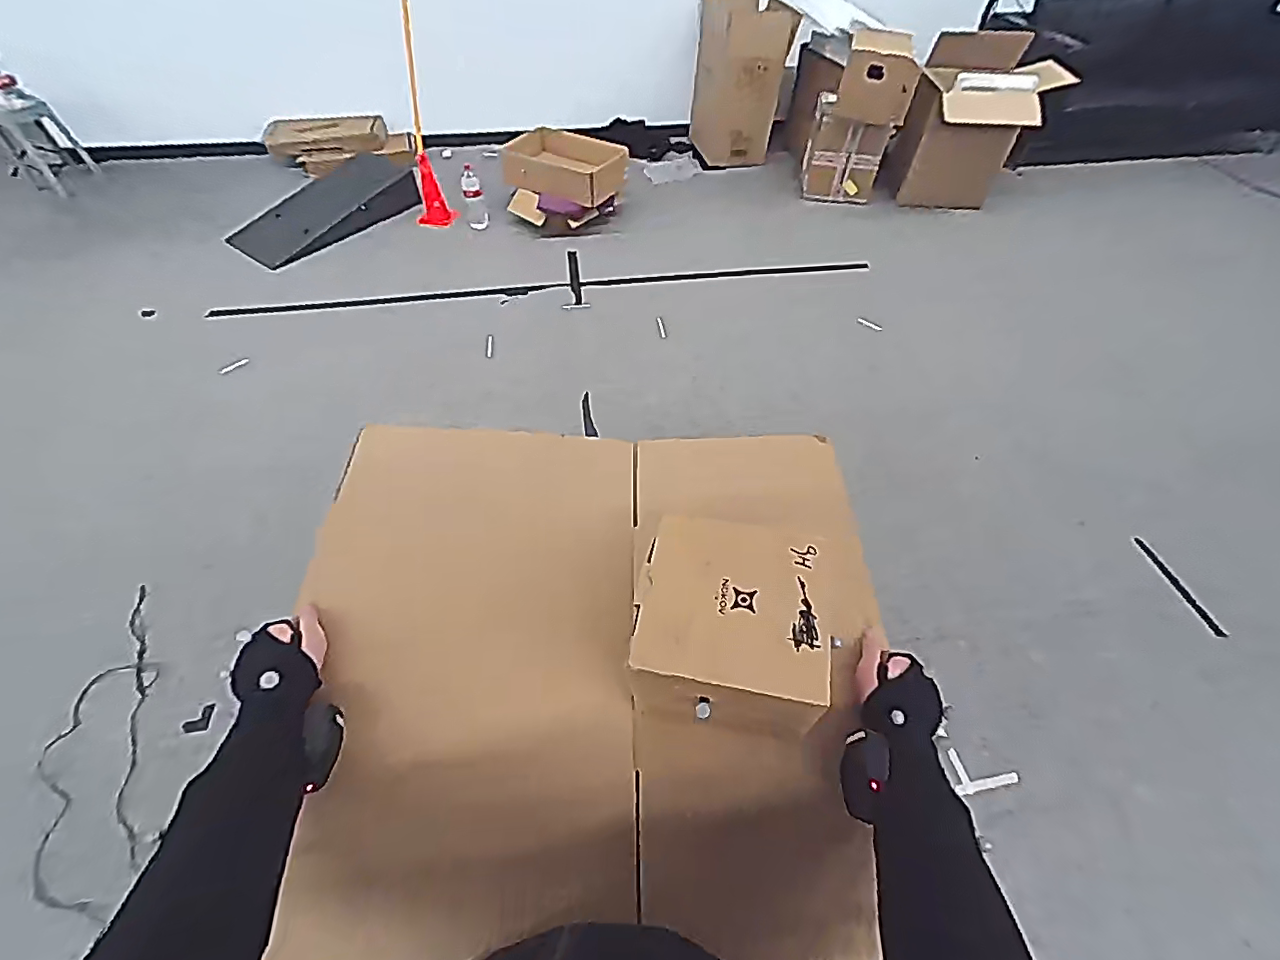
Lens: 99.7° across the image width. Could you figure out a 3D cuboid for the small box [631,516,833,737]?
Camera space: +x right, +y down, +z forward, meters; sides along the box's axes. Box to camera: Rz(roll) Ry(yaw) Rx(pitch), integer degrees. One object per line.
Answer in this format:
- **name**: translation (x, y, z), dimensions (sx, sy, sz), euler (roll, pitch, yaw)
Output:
- **small box**: translation (0.100, 0.160, 0.579), dimensions (0.179, 0.176, 0.168), euler (7, 55, 11)
